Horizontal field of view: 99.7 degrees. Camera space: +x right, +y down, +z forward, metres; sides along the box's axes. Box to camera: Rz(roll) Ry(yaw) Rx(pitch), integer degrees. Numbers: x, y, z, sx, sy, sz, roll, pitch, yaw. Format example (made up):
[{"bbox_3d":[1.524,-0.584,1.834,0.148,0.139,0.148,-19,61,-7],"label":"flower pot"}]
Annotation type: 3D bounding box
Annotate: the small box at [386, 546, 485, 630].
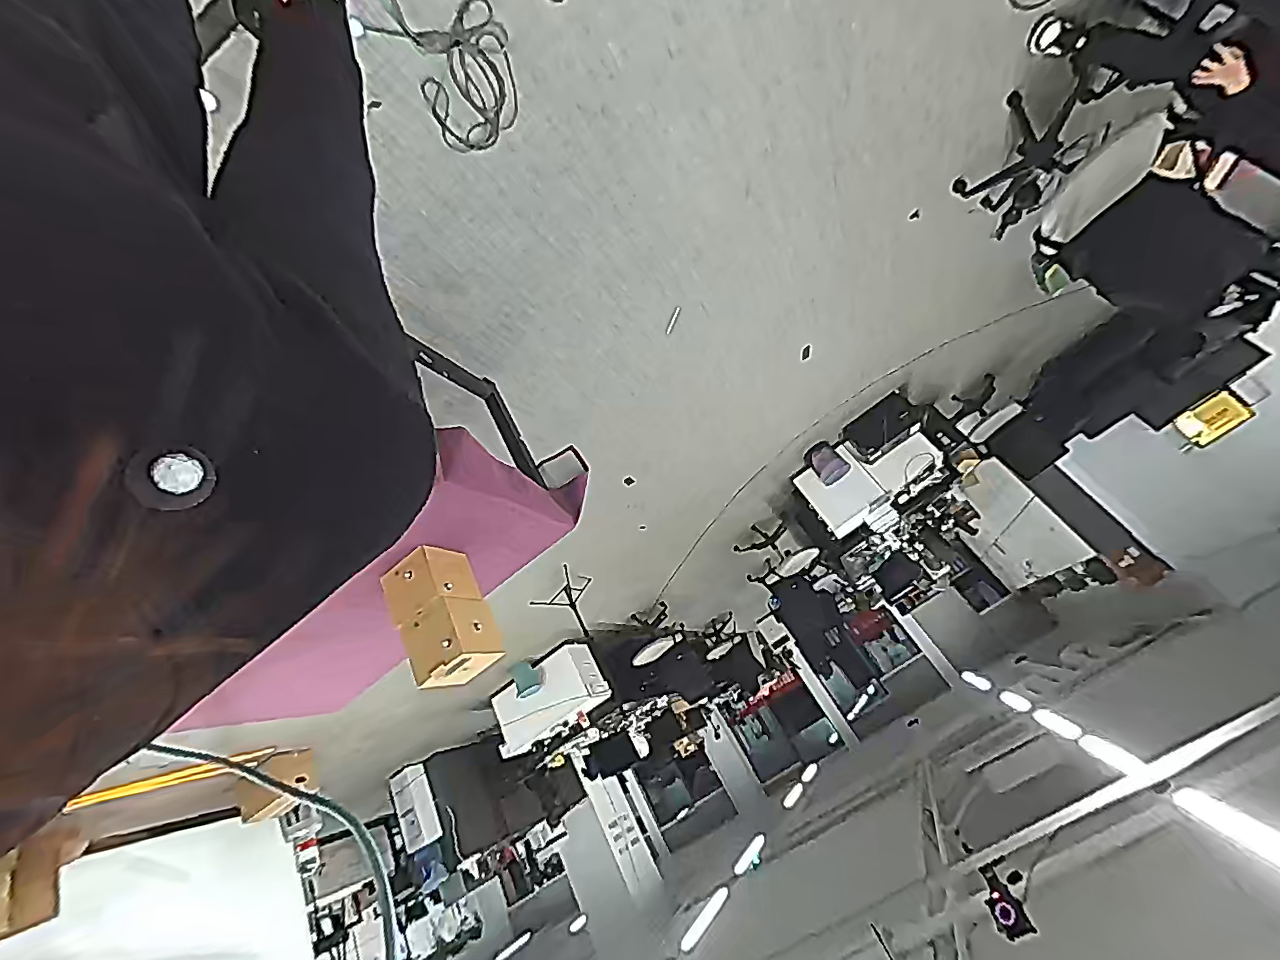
[{"bbox_3d":[-0.576,0.305,1.523,0.168,0.176,0.179,-38,152,11],"label":"small box"}]
